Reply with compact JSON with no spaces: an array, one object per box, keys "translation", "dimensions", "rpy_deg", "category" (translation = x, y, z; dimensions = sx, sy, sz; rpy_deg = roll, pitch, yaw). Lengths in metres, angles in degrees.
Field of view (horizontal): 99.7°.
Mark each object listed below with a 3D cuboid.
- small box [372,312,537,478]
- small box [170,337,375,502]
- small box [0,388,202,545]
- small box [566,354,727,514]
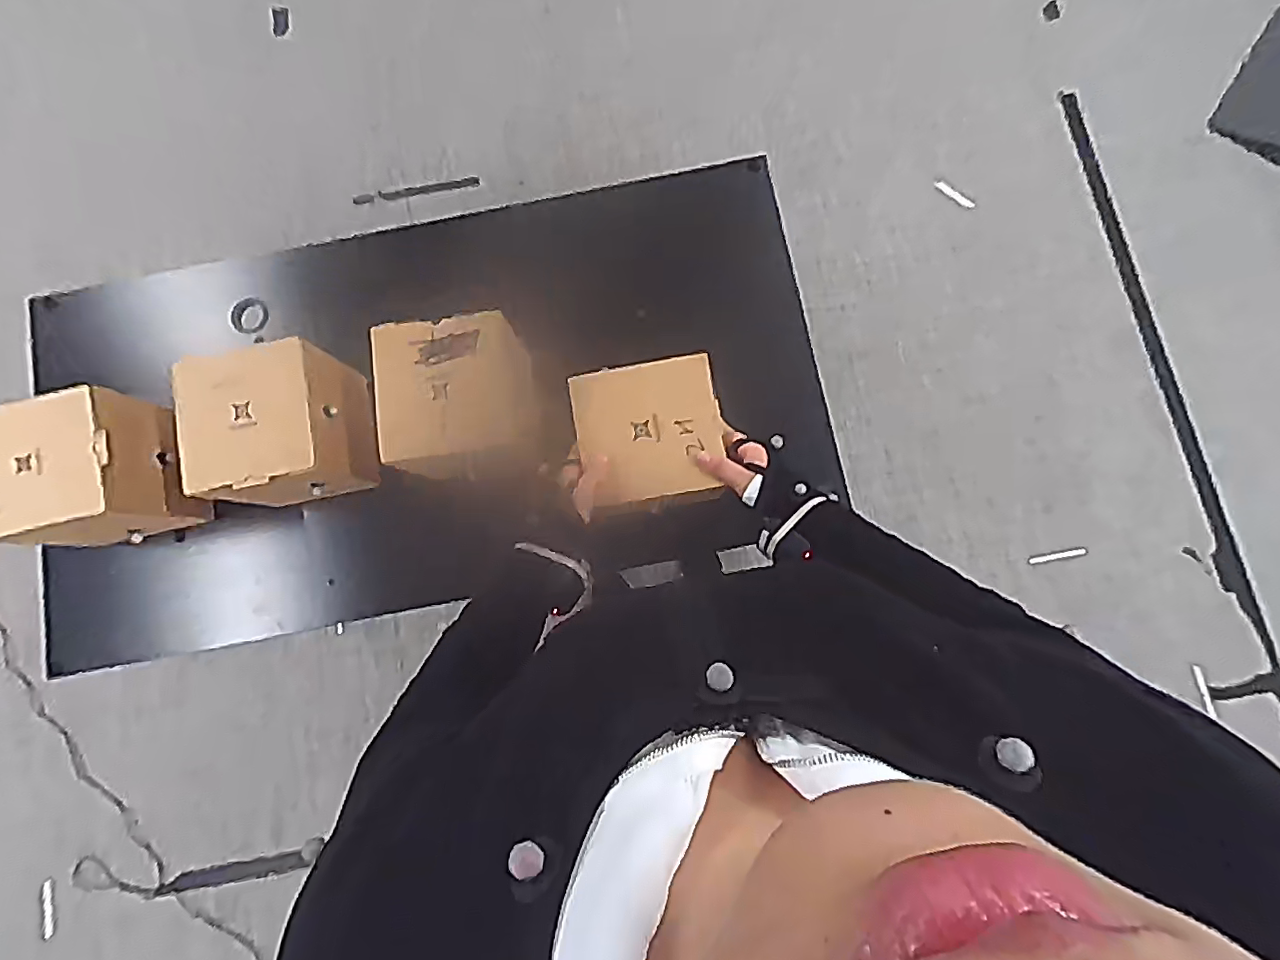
[{"translation":[-0.243,-0.107,0.742],"dimensions":[0.168,0.176,0.179],"rpy_deg":[-7,83,0],"category":"small box"},{"translation":[-0.490,-0.070,0.745],"dimensions":[0.168,0.176,0.179],"rpy_deg":[-12,82,-1],"category":"small box"},{"translation":[-0.746,-0.010,0.740],"dimensions":[0.179,0.176,0.168],"rpy_deg":[-13,82,-1],"category":"small box"},{"translation":[0.010,-0.051,0.729],"dimensions":[0.179,0.176,0.168],"rpy_deg":[-10,83,0],"category":"small box"}]
